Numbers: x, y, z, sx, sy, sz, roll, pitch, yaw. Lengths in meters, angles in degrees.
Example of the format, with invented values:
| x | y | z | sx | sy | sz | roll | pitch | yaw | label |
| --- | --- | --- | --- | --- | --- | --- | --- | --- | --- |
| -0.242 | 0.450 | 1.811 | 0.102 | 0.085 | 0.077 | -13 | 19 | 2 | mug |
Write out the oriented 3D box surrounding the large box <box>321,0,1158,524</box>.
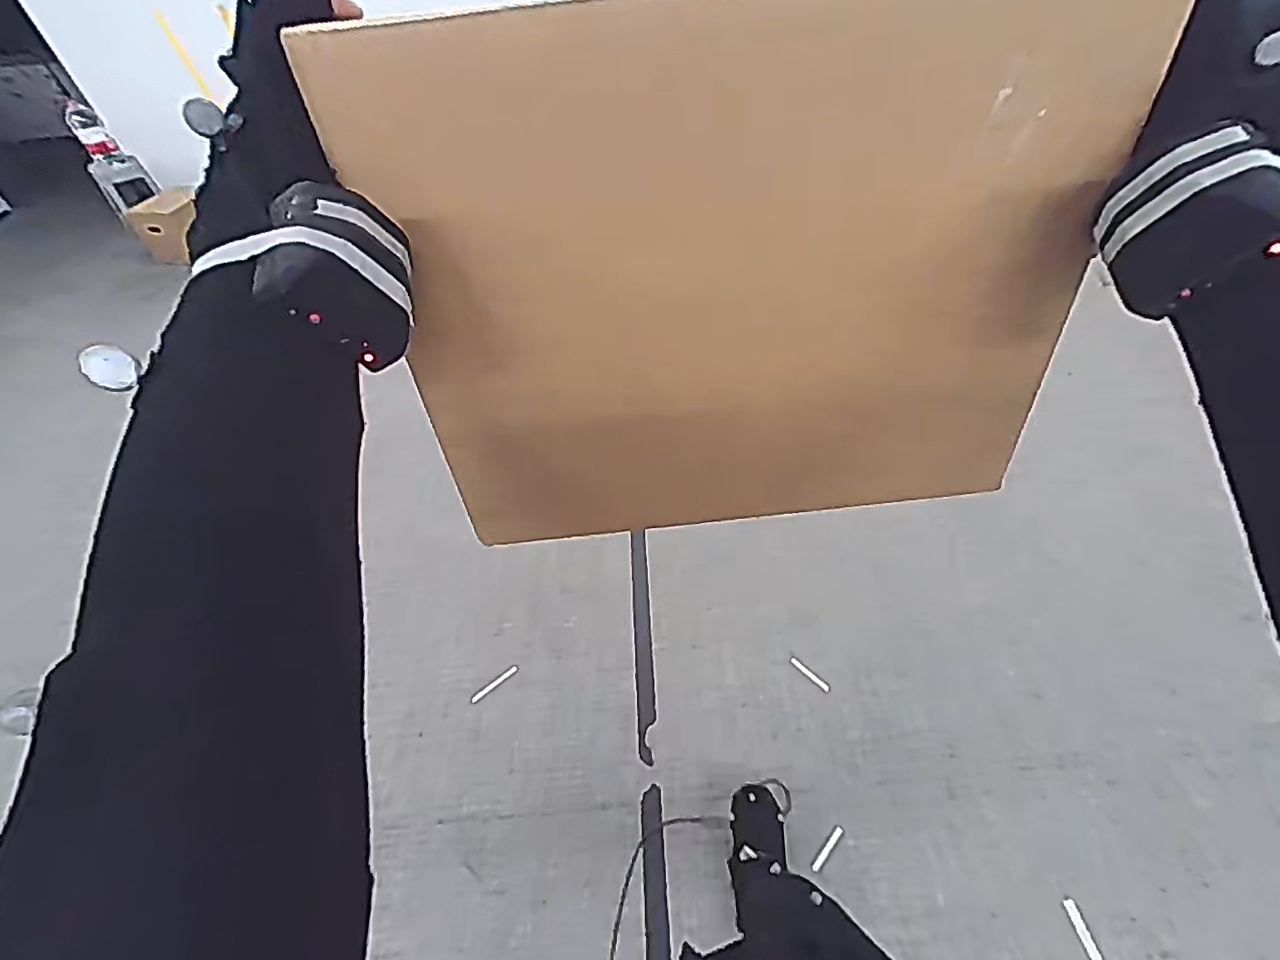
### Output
| x | y | z | sx | sy | sz | roll | pitch | yaw | label |
| --- | --- | --- | --- | --- | --- | --- | --- | --- | --- |
| 0.051 | -0.192 | 0.451 | 0.408 | 0.320 | 0.320 | -6 | 39 | 0 | large box |
